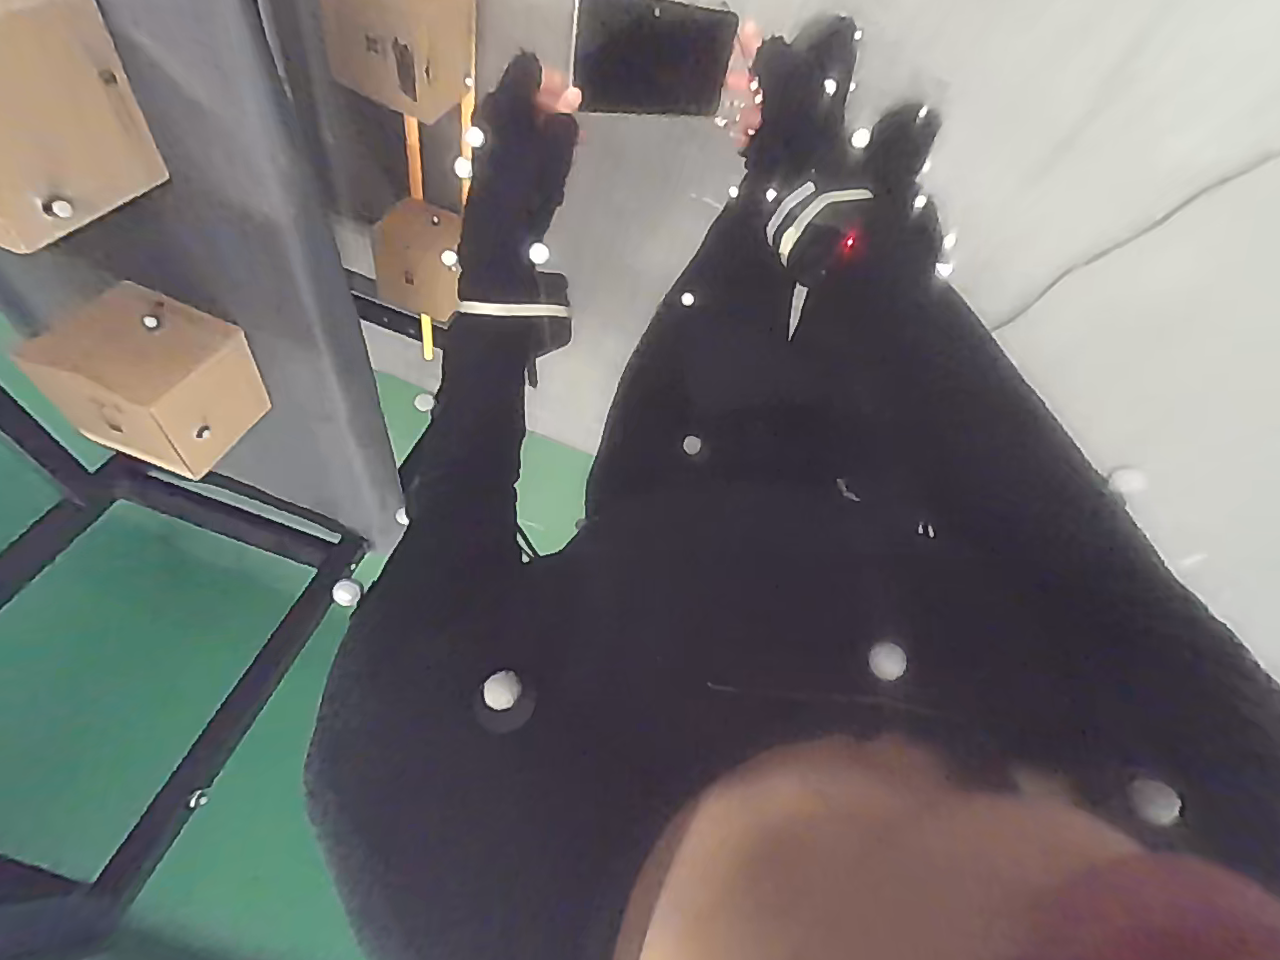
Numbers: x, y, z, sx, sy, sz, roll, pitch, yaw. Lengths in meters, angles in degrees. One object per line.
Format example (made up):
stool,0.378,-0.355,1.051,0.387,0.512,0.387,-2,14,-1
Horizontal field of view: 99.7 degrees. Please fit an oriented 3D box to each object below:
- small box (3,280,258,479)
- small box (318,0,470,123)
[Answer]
small box,-0.679,-0.138,0.756,0.168,0.176,0.179,23,143,-6
small box,-0.402,-0.750,0.904,0.179,0.176,0.168,23,143,-6
